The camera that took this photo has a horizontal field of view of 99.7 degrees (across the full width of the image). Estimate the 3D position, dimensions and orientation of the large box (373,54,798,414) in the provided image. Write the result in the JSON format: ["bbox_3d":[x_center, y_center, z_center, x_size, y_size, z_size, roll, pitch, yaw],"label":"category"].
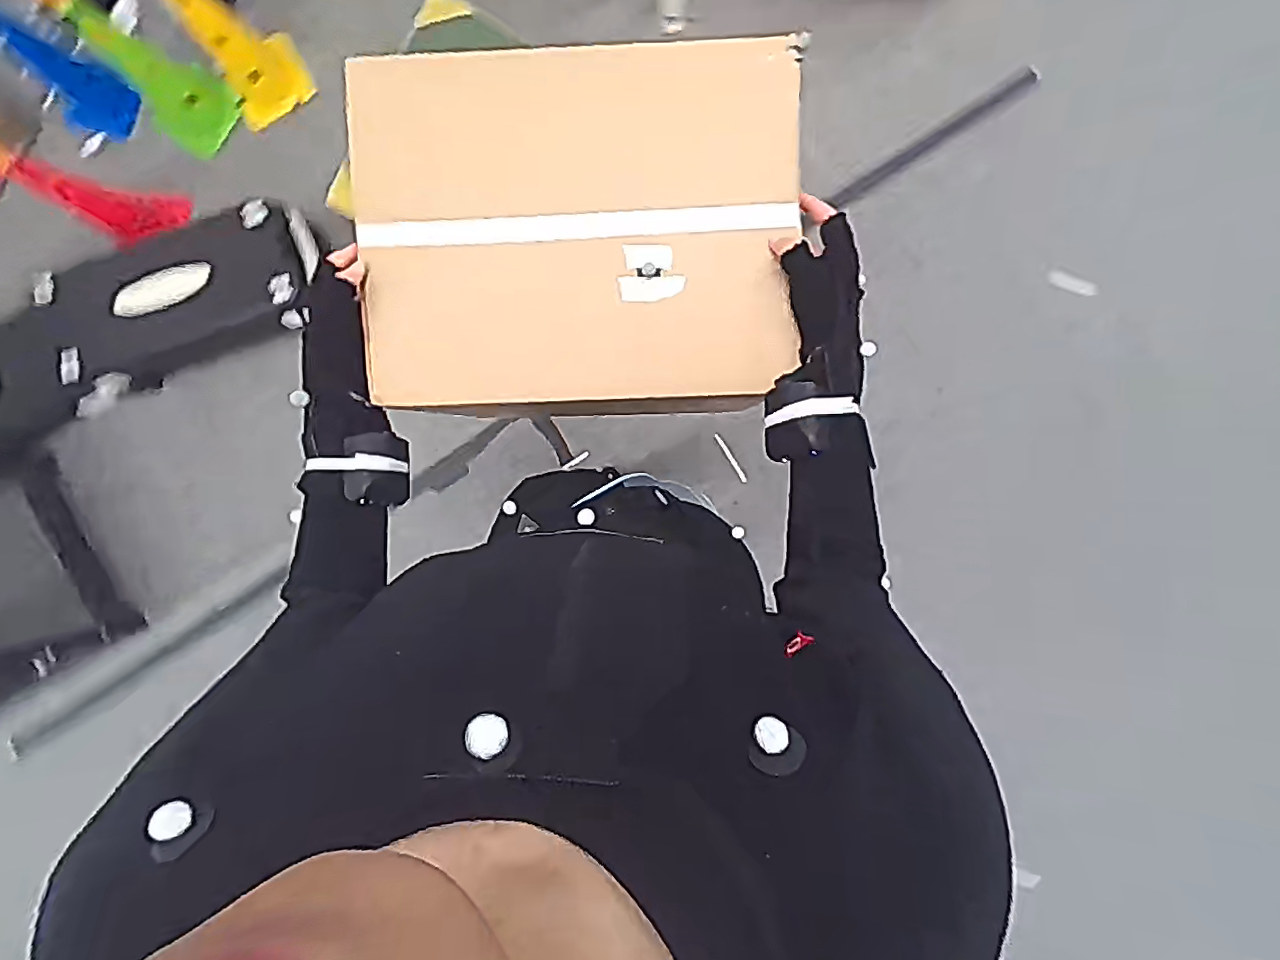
[{"bbox_3d":[-0.049,-0.247,0.661,0.408,0.320,0.320,0,95,1],"label":"large box"}]
